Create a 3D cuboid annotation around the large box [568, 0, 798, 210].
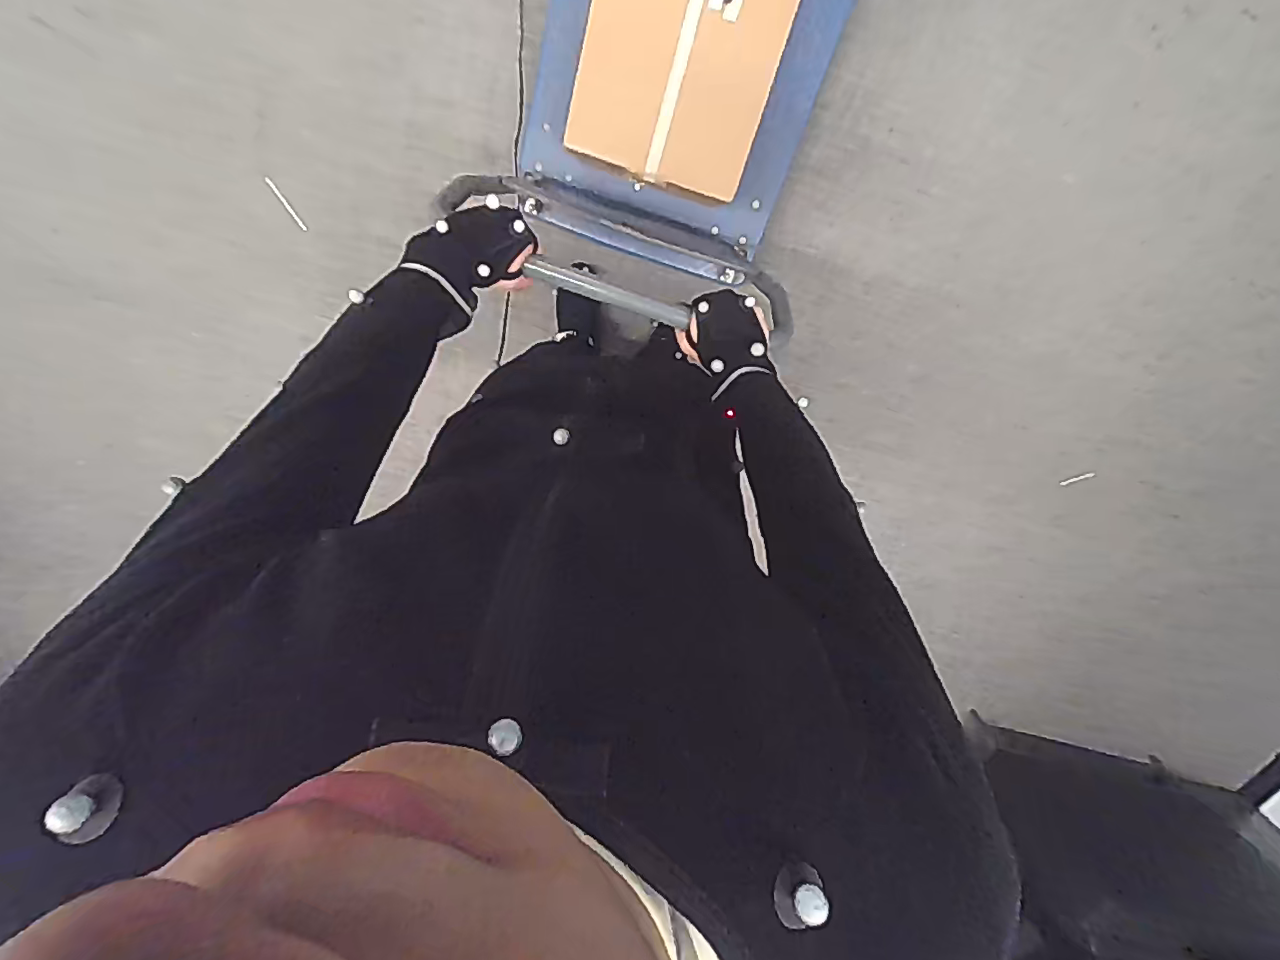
[{"bbox_3d":[0.074,-0.764,1.012,0.320,0.320,0.408,15,114,-7],"label":"large box"}]
